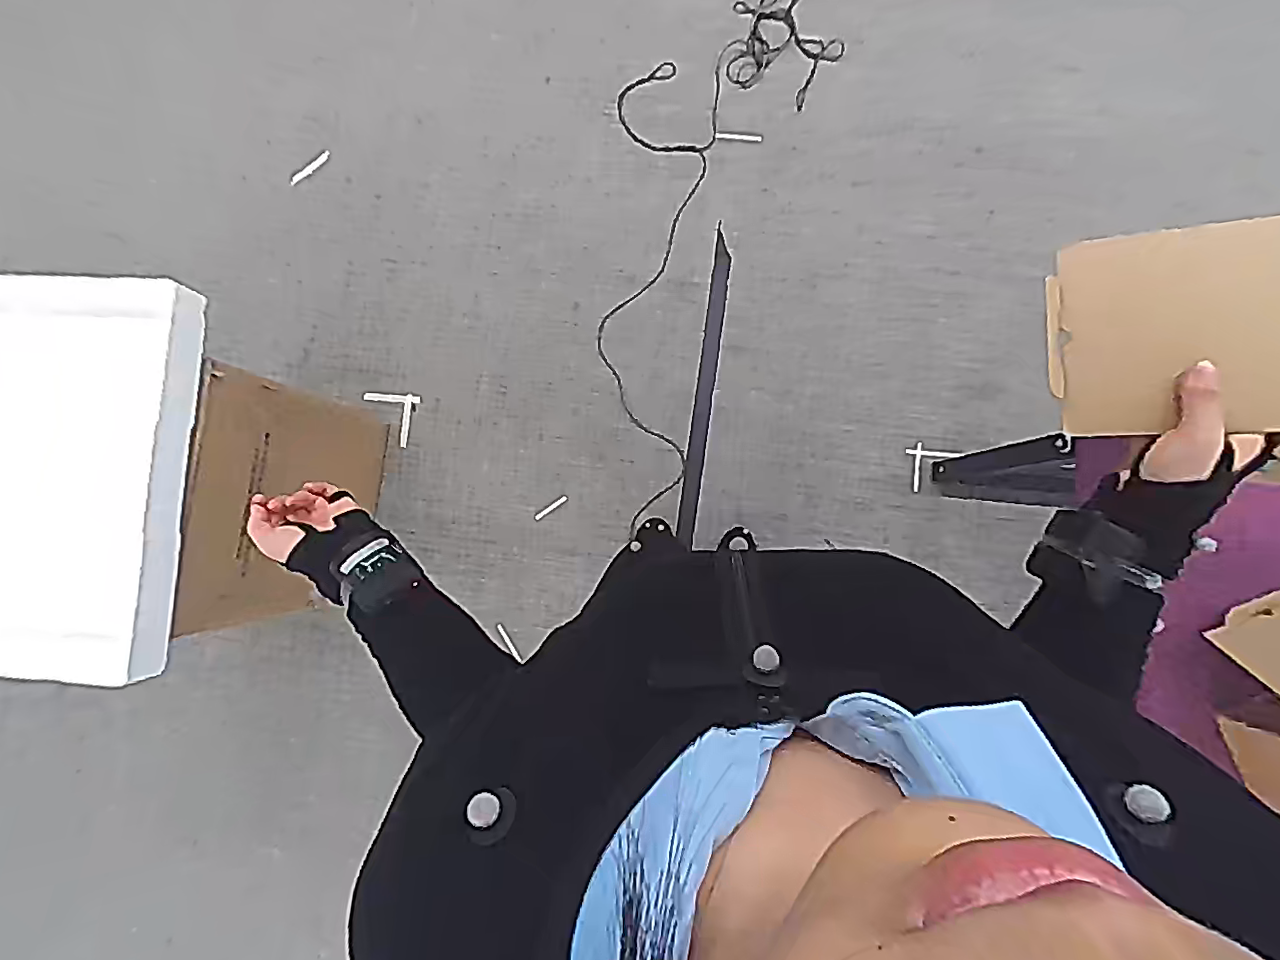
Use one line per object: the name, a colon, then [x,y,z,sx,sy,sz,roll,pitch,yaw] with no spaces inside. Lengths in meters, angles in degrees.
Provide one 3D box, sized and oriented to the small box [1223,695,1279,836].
small box: [0.850,0.347,0.617,0.168,0.176,0.179,-20,84,2]
